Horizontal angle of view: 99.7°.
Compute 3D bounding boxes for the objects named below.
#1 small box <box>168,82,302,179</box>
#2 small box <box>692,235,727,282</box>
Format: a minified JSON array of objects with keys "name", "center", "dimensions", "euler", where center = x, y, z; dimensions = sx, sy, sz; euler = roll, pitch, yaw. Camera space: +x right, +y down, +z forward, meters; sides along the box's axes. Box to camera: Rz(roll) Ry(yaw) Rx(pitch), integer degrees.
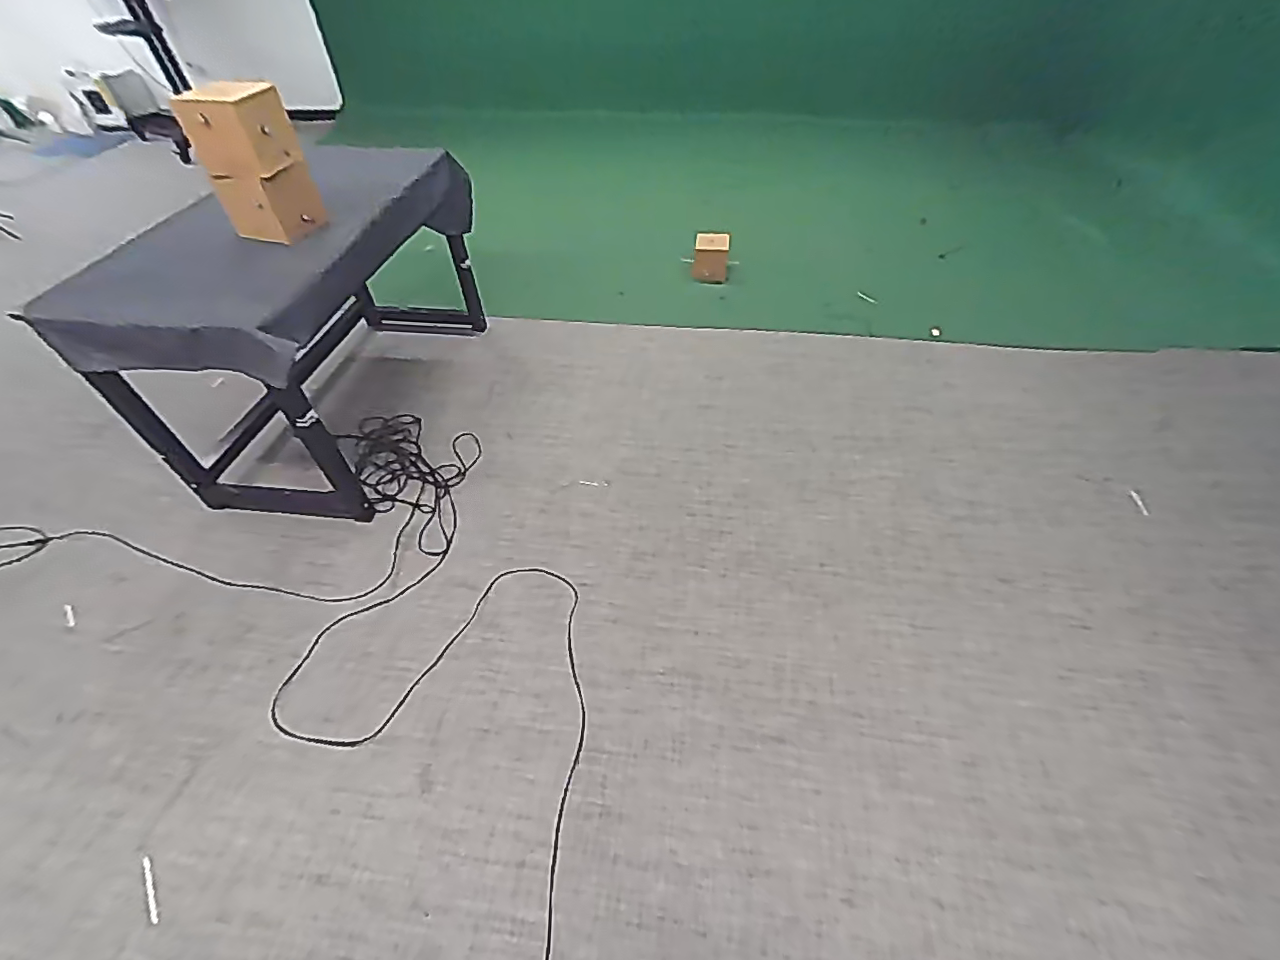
[{"name":"small box","center":[-1.006,-0.879,1.364],"dimensions":[0.179,0.176,0.168],"euler":[6,49,8]},{"name":"small box","center":[0.354,-1.133,2.763],"dimensions":[0.168,0.176,0.179],"euler":[4,49,6]}]
